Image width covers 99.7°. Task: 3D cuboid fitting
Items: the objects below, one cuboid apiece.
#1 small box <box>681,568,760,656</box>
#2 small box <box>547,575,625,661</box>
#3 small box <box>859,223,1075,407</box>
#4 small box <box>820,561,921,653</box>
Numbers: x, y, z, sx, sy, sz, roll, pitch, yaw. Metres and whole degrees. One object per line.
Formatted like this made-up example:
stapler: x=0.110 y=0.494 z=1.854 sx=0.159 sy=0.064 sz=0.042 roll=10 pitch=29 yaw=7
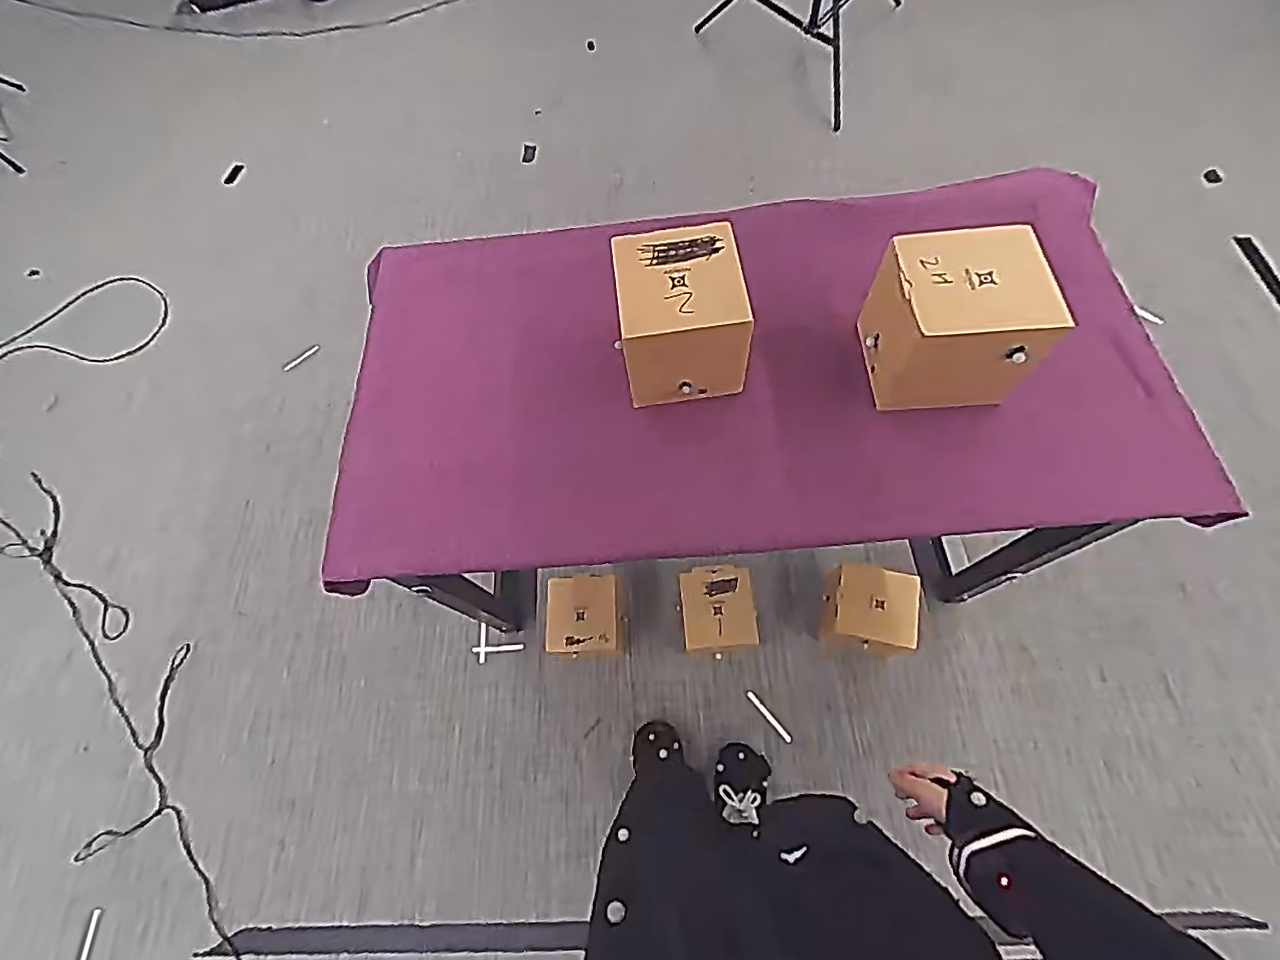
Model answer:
small box: x=0.188 y=0.323 z=1.314 sx=0.168 sy=0.176 sz=0.179 roll=-6 pitch=67 yaw=3
small box: x=-0.127 y=0.344 z=1.337 sx=0.168 sy=0.176 sz=0.179 roll=-3 pitch=64 yaw=4
small box: x=0.419 y=-0.213 z=0.729 sx=0.179 sy=0.176 sz=0.168 roll=-3 pitch=65 yaw=5
small box: x=0.544 y=0.309 z=1.288 sx=0.179 sy=0.176 sz=0.168 roll=10 pitch=68 yaw=11
